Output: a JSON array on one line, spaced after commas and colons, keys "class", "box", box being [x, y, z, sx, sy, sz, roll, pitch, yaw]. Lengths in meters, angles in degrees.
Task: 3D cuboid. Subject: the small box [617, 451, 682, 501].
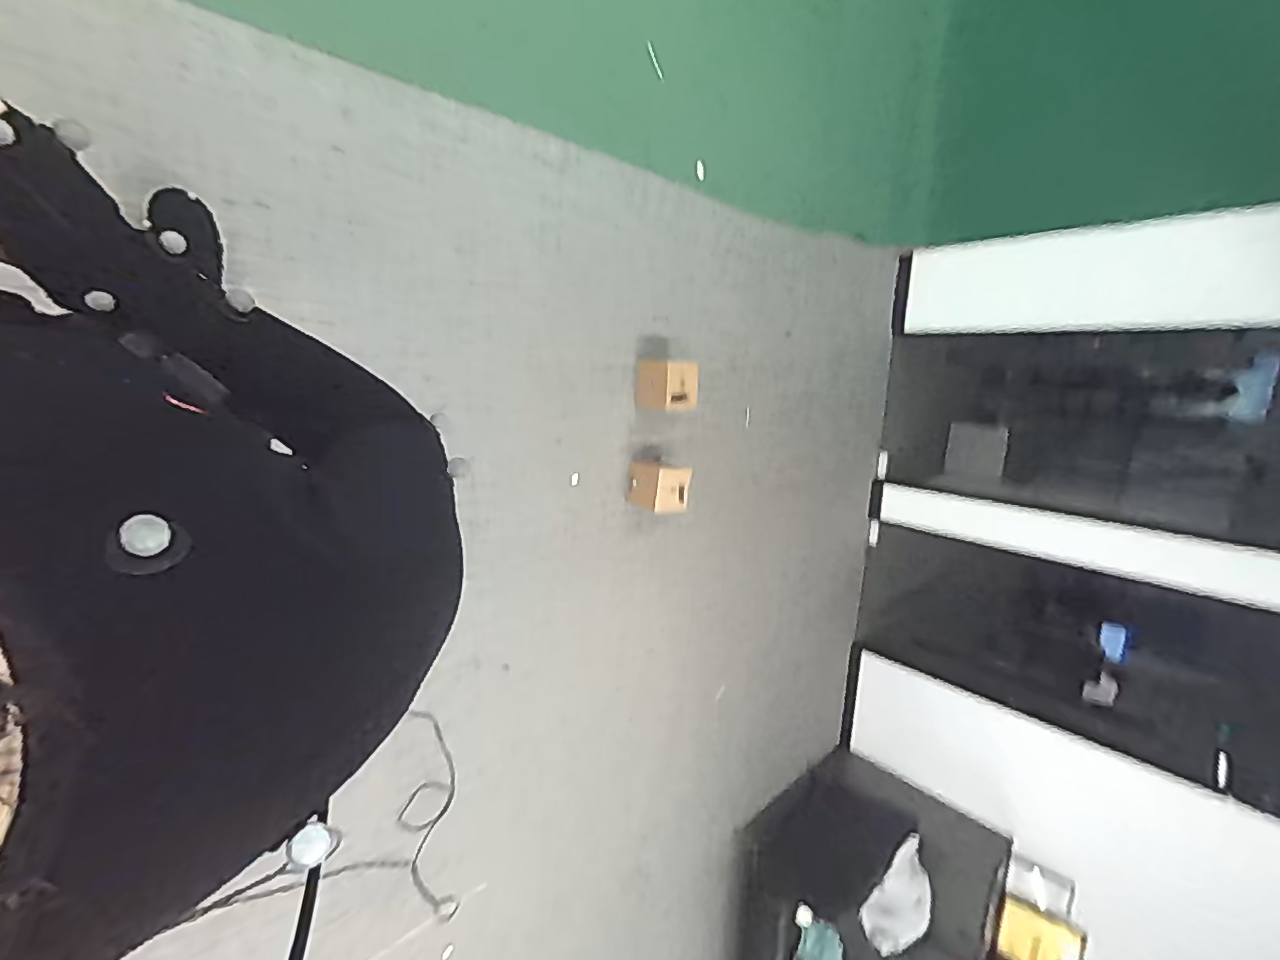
[{"class": "small box", "box": [0.036, -0.017, 2.090, 0.179, 0.176, 0.168, -1, 102, -43]}]
